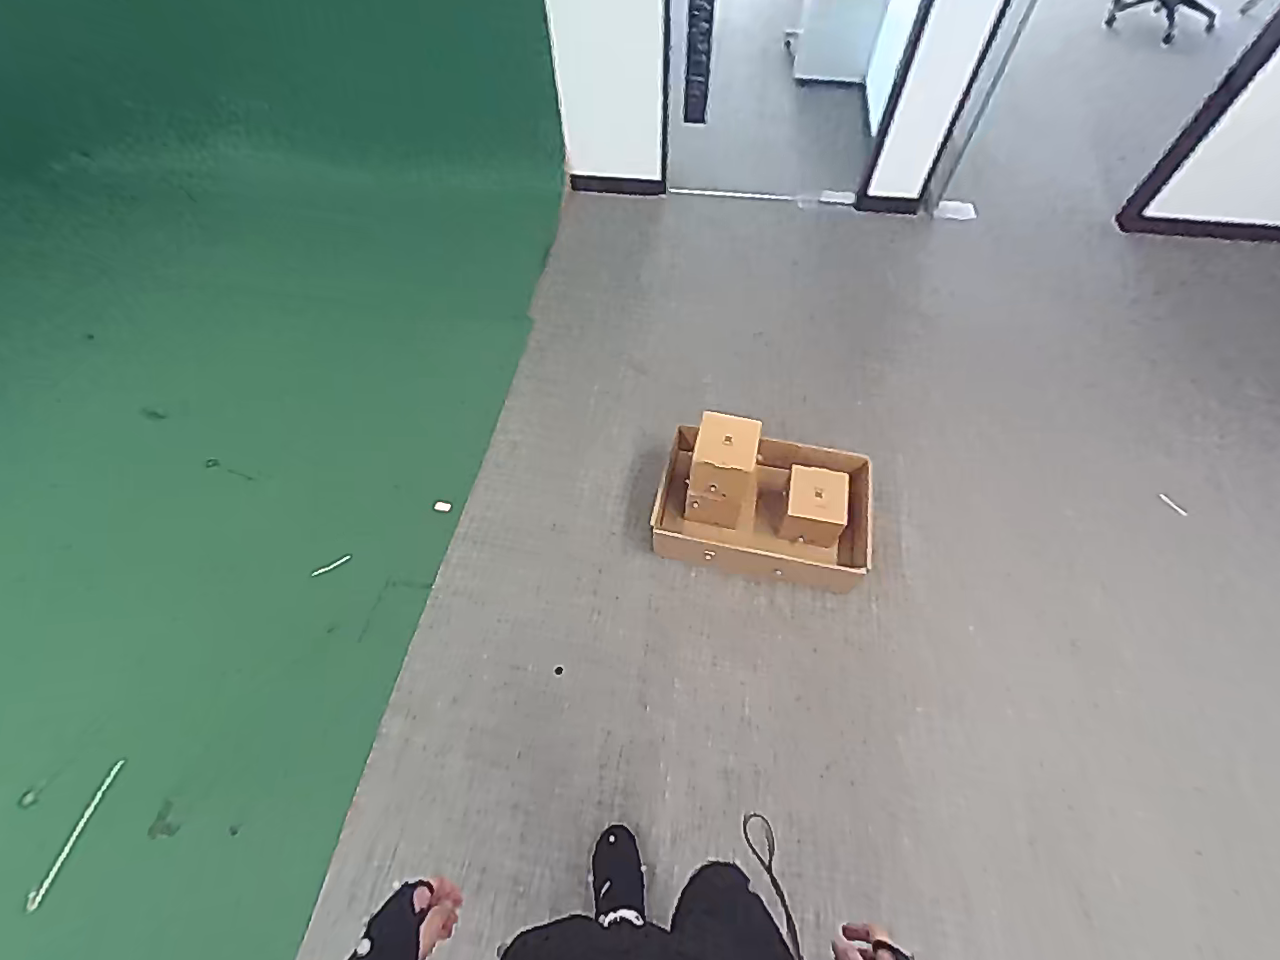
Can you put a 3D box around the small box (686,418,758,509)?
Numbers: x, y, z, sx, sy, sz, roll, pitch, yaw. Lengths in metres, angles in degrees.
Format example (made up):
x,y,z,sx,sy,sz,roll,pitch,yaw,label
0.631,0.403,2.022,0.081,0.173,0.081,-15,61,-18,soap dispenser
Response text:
x,y,z,sx,sy,sz,roll,pitch,yaw,label
0.229,-0.046,1.528,0.168,0.176,0.179,11,58,7,small box

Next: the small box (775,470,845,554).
x,y,z,sx,sy,sz,roll,pitch,yaw,label
0.507,0.099,1.625,0.168,0.176,0.179,10,59,9,small box
